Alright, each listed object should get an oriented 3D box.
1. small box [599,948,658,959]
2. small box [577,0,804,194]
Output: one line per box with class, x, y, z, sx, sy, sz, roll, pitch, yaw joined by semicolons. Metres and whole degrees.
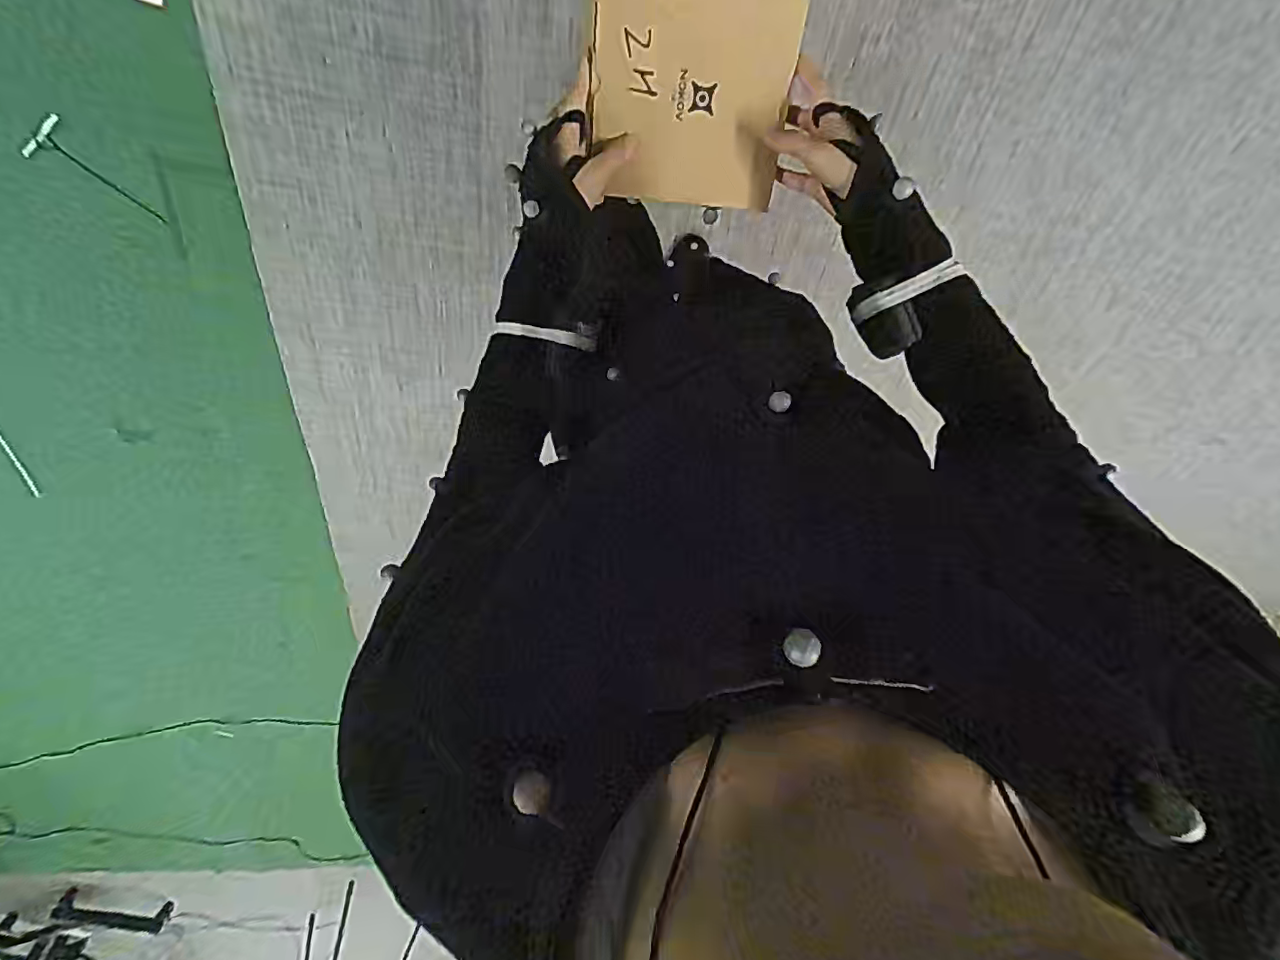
small box;-0.035;1.680;1.796;0.179;0.176;0.168;8;127;-12
small box;0.032;-0.387;0.529;0.179;0.176;0.168;2;120;-9
